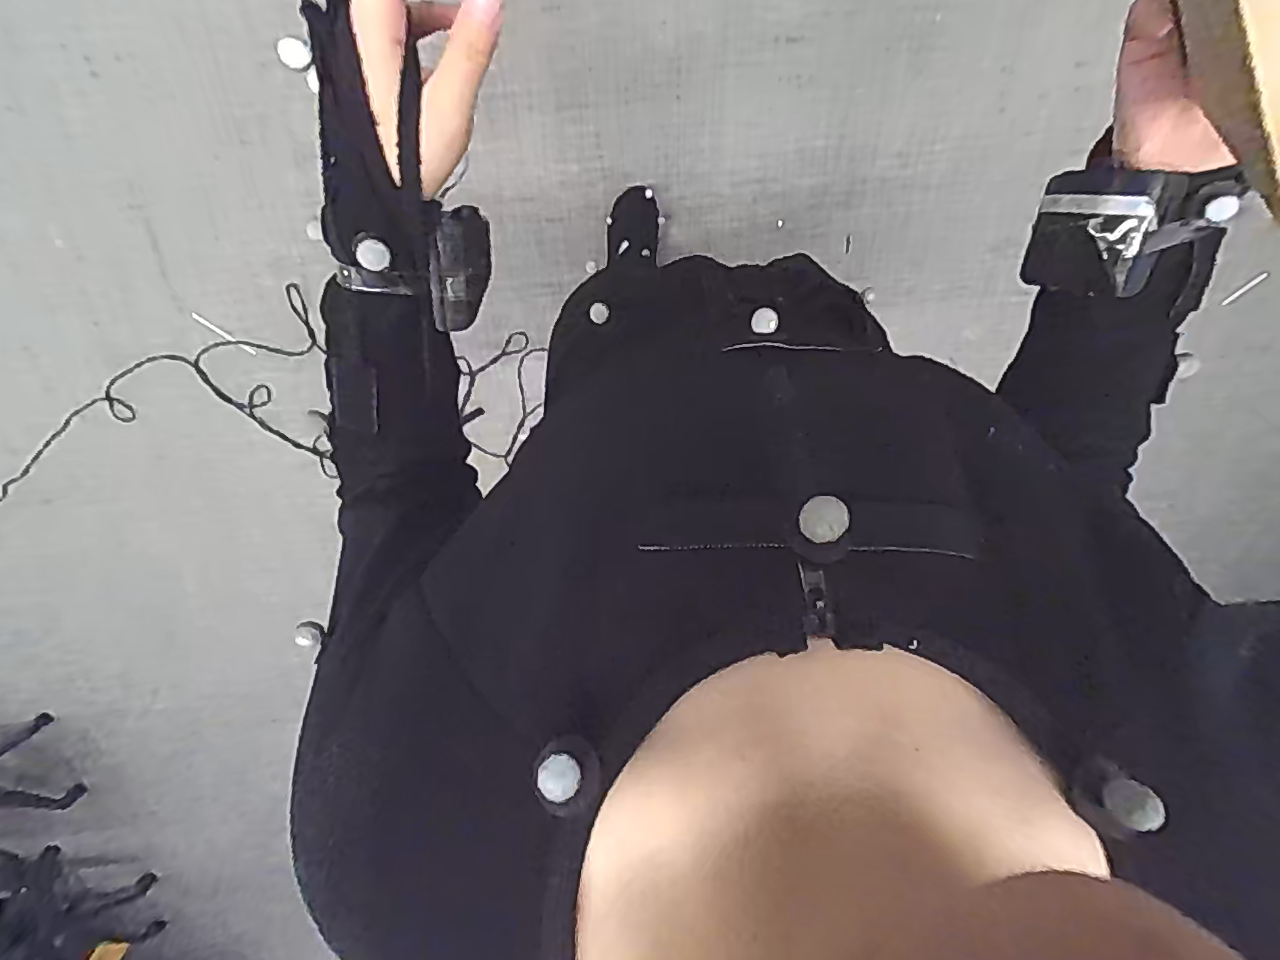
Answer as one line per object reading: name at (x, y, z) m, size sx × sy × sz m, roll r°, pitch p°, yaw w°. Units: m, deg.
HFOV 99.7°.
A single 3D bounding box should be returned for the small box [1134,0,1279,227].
small box at (0.241, -0.214, 0.145) m, size 0.179 × 0.168 × 0.176 m, roll 44°, pitch 143°, yaw -21°
